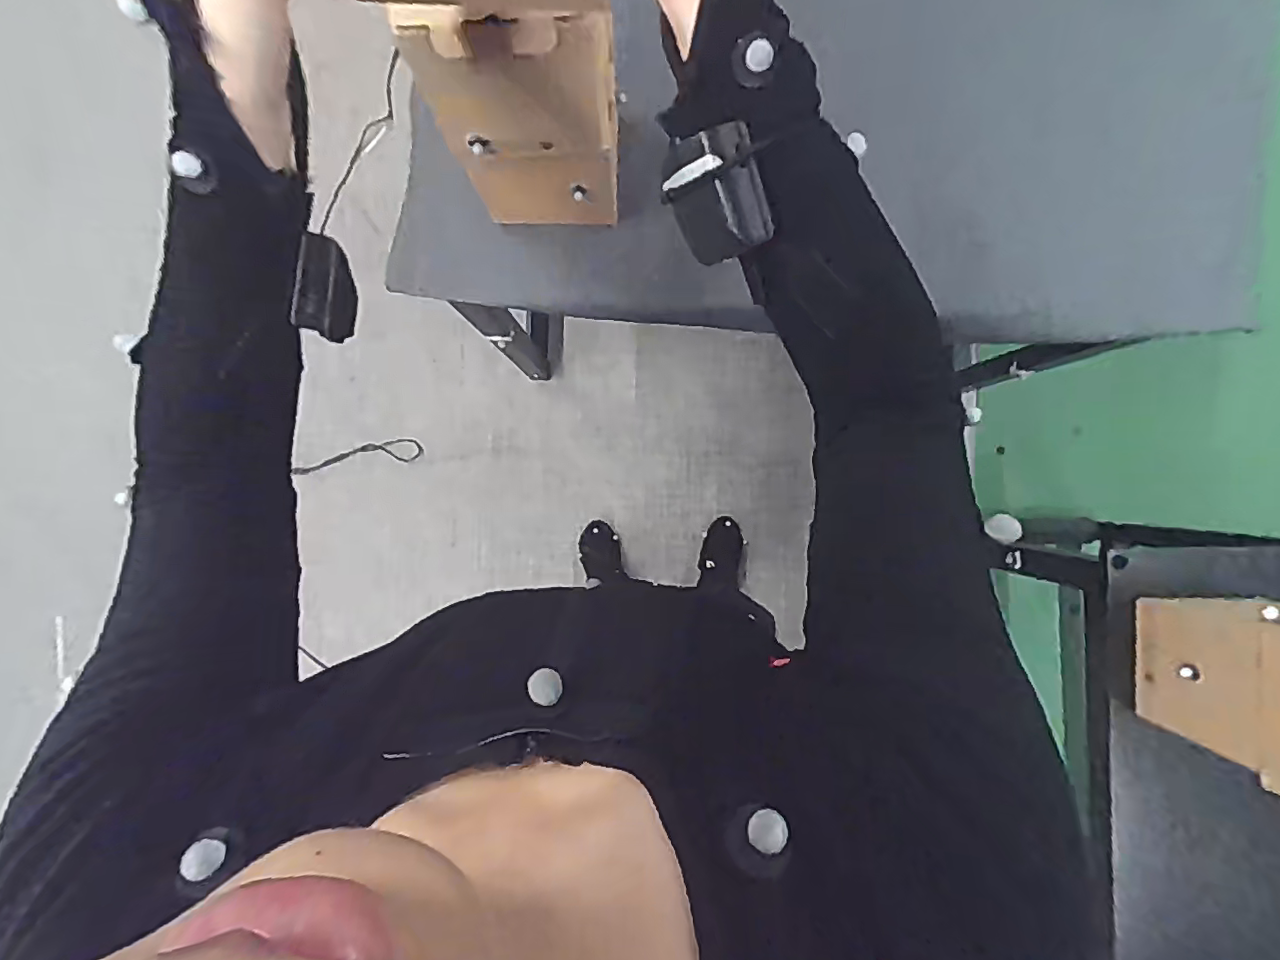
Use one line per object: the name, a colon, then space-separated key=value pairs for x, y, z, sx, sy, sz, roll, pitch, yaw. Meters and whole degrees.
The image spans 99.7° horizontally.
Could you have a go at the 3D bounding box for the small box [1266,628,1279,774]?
small box: x=0.765 y=0.249 z=0.511 sx=0.168 sy=0.176 sz=0.179 roll=0 pitch=90 yaw=1

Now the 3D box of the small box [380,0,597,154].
small box: x=-0.133 y=-0.445 z=0.523 sx=0.168 sy=0.176 sz=0.179 roll=-4 pitch=87 yaw=0

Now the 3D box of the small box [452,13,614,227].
small box: x=-0.123 y=-0.442 z=0.687 sx=0.179 sy=0.176 sz=0.168 roll=0 pitch=87 yaw=1

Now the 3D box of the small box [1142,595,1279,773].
small box: x=0.782 y=0.244 z=0.673 sx=0.179 sy=0.176 sz=0.168 roll=0 pitch=91 yaw=0
